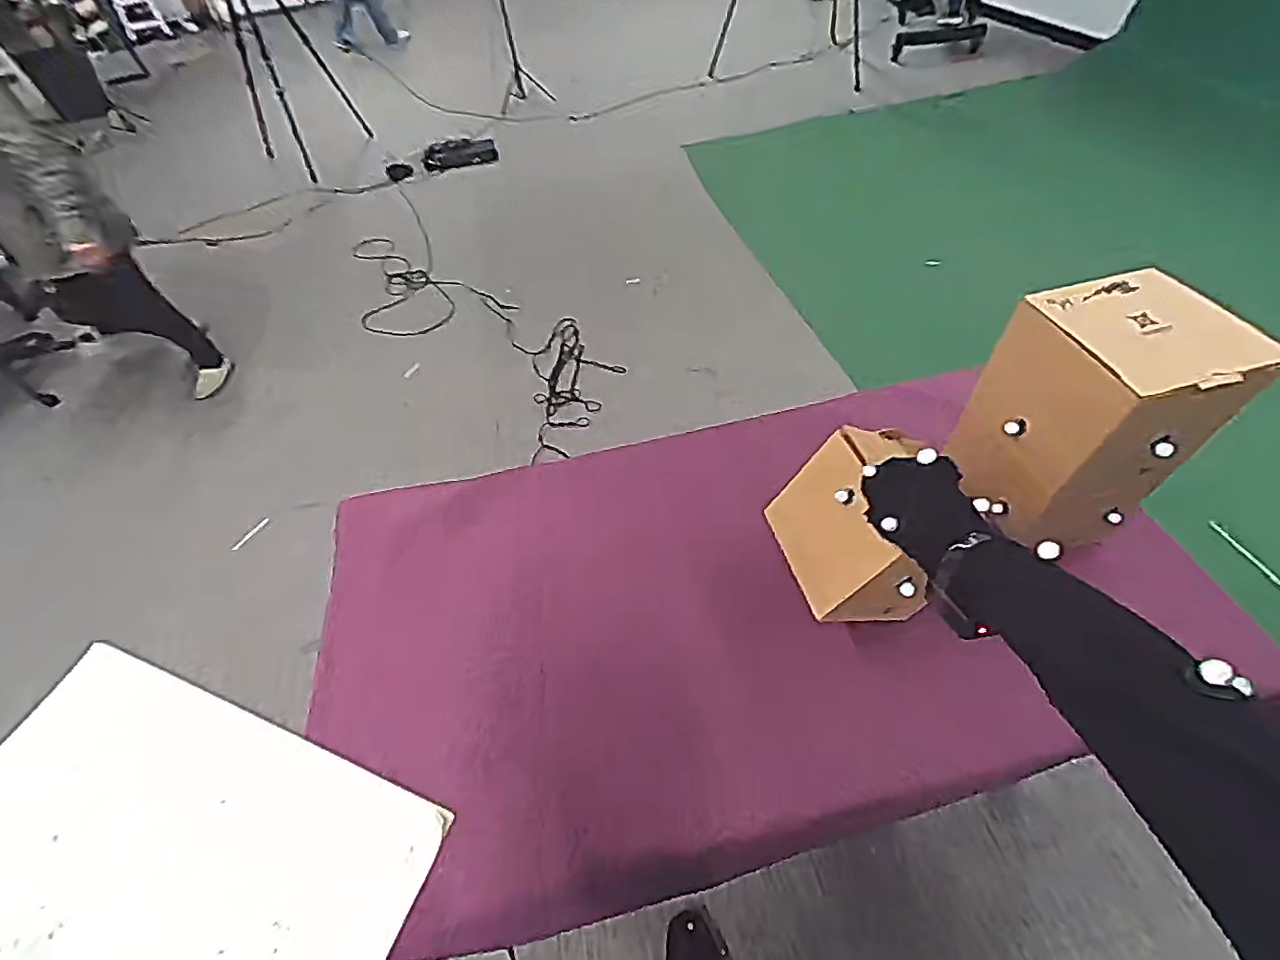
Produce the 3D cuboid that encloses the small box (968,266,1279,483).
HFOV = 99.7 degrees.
[{"bbox_3d":[0.531,-0.114,0.629,0.168,0.176,0.179,-13,53,-4],"label":"small box"}]

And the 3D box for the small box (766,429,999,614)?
[{"bbox_3d":[0.294,0.061,0.694,0.168,0.176,0.179,5,46,-26],"label":"small box"}]

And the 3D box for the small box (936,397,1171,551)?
[{"bbox_3d":[0.552,-0.017,0.759,0.168,0.176,0.179,-13,52,-4],"label":"small box"}]
